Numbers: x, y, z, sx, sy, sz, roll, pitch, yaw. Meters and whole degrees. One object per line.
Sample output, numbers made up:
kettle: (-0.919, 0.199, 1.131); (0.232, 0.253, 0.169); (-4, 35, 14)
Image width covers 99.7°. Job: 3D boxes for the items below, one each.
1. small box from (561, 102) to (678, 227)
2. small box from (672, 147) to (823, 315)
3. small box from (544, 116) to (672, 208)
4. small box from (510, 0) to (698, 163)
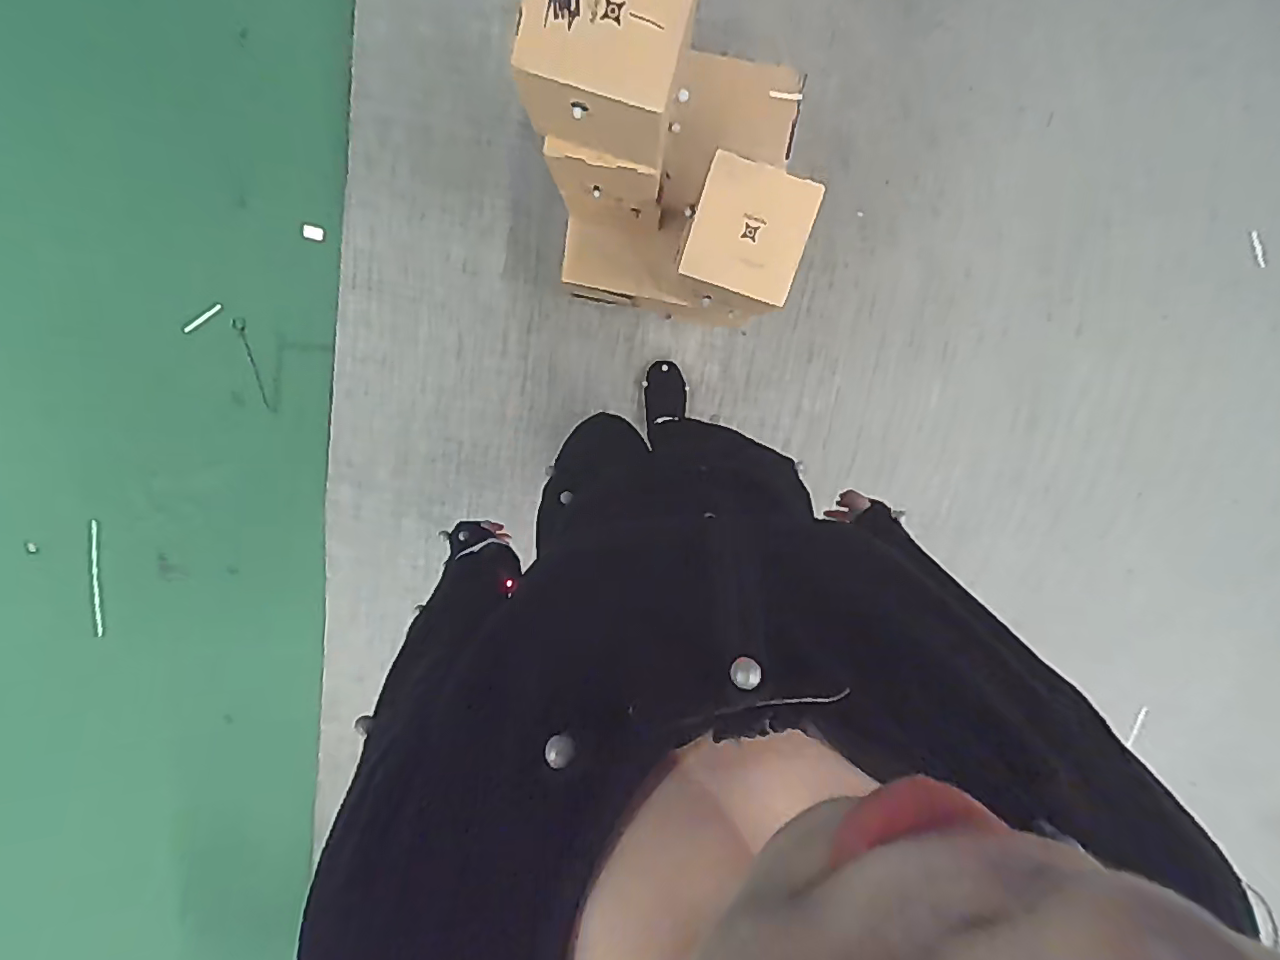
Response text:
small box: (-0.036, -0.571, 0.974); (0.179, 0.176, 0.168); (9, 100, -2)
small box: (0.154, -0.374, 0.848); (0.168, 0.176, 0.179); (18, 101, -4)
small box: (-0.039, -0.539, 0.814); (0.168, 0.176, 0.179); (11, 102, -2)
small box: (-0.037, -0.515, 0.651); (0.179, 0.176, 0.168); (15, 101, -4)
